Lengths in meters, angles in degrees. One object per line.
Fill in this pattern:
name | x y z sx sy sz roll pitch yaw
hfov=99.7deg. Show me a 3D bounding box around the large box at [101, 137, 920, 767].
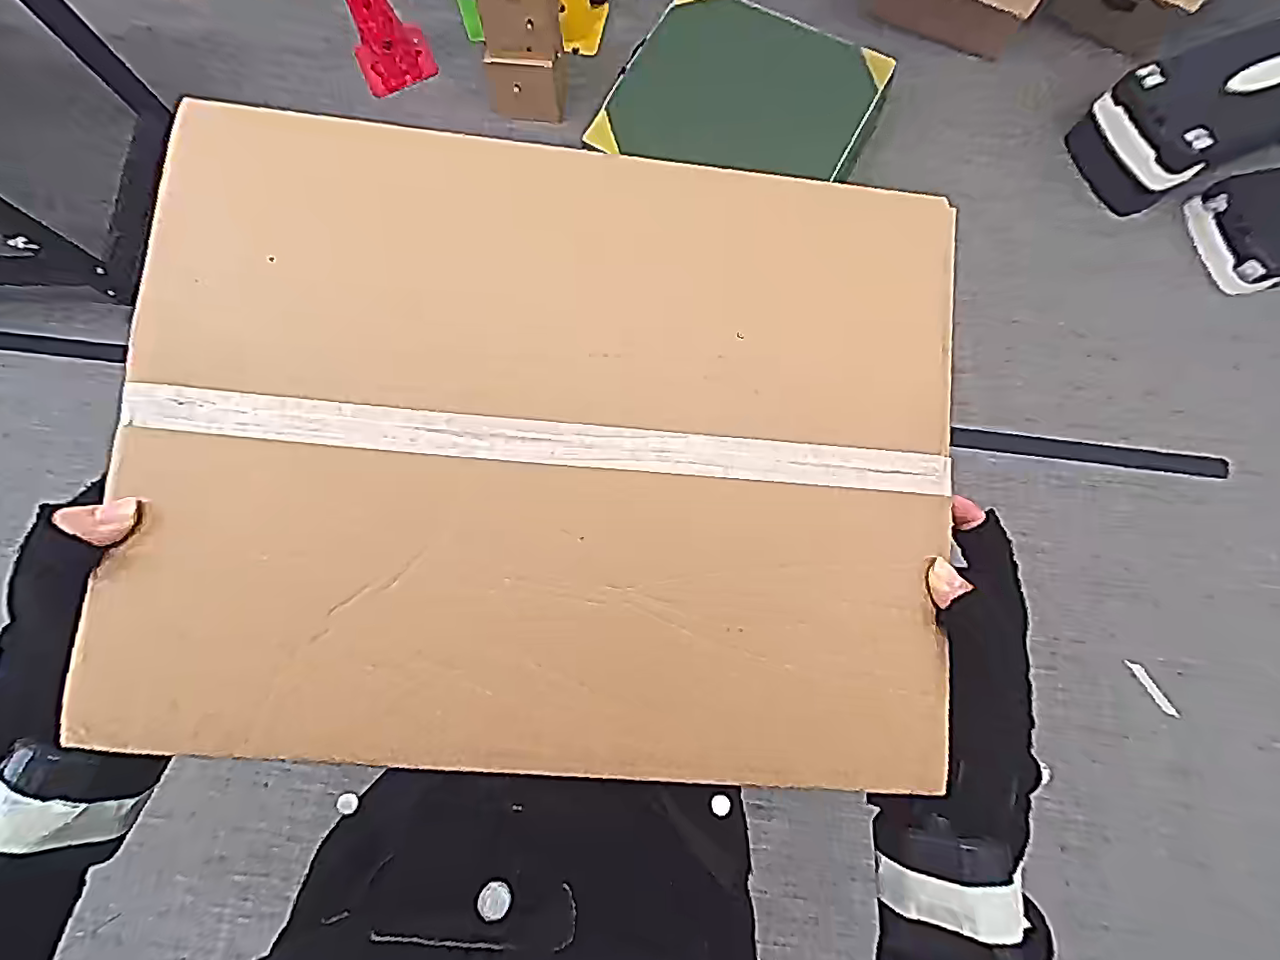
large box | -0.056 -0.002 0.429 0.408 0.320 0.320 5 83 -4
